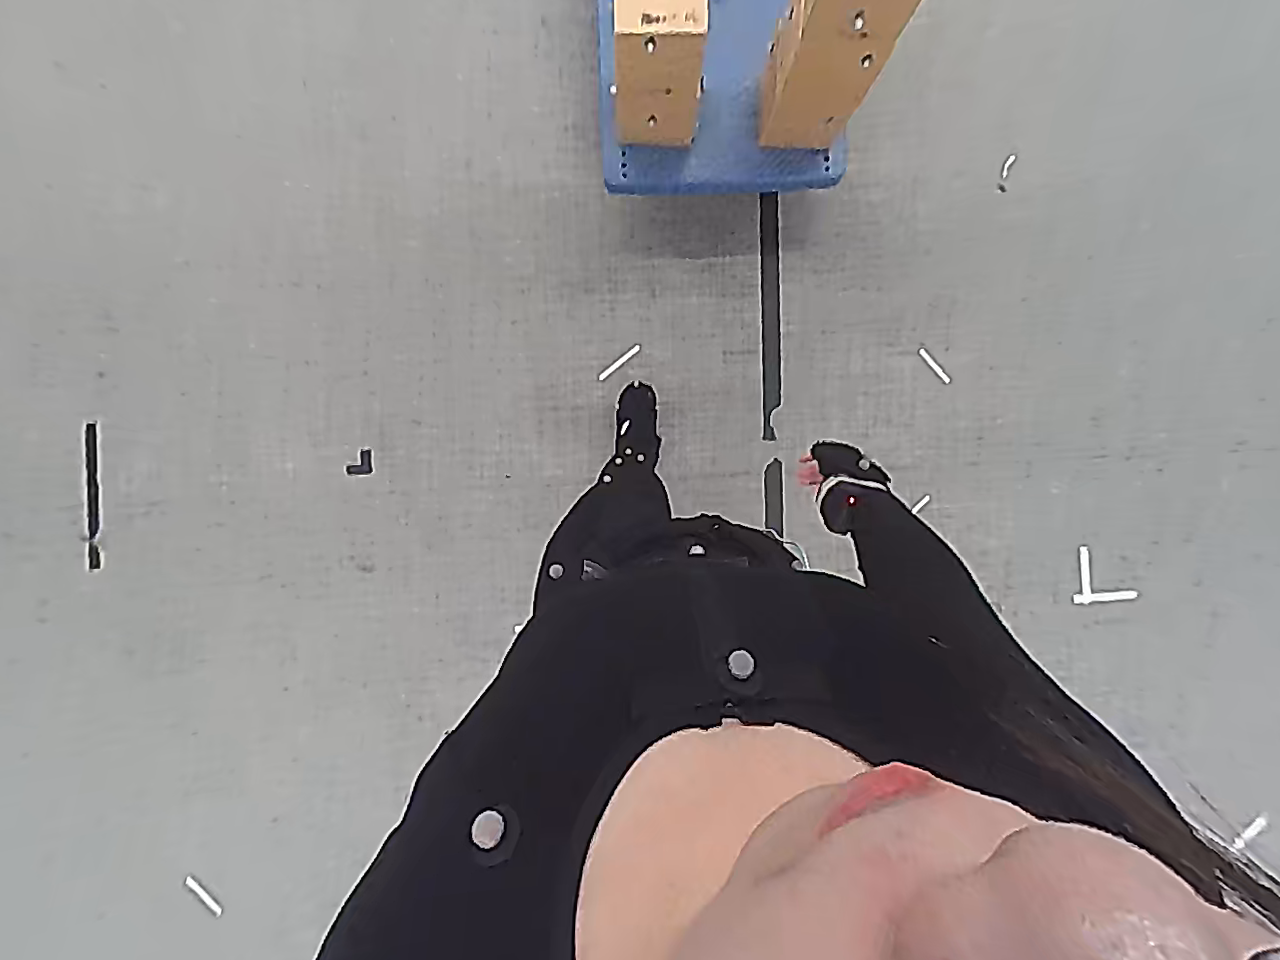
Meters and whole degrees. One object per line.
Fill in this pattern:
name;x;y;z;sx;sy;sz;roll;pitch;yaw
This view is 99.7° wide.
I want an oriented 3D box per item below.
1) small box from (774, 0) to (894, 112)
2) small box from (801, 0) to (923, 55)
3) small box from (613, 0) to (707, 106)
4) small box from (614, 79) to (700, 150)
small box;0.364;-0.840;1.033;0.179;0.176;0.168;3;91;-2
small box;0.367;-0.841;0.867;0.168;0.176;0.179;5;91;-1
small box;0.033;-0.855;1.025;0.168;0.176;0.179;-1;90;0
small box;0.036;-0.856;1.190;0.179;0.176;0.168;2;91;0
